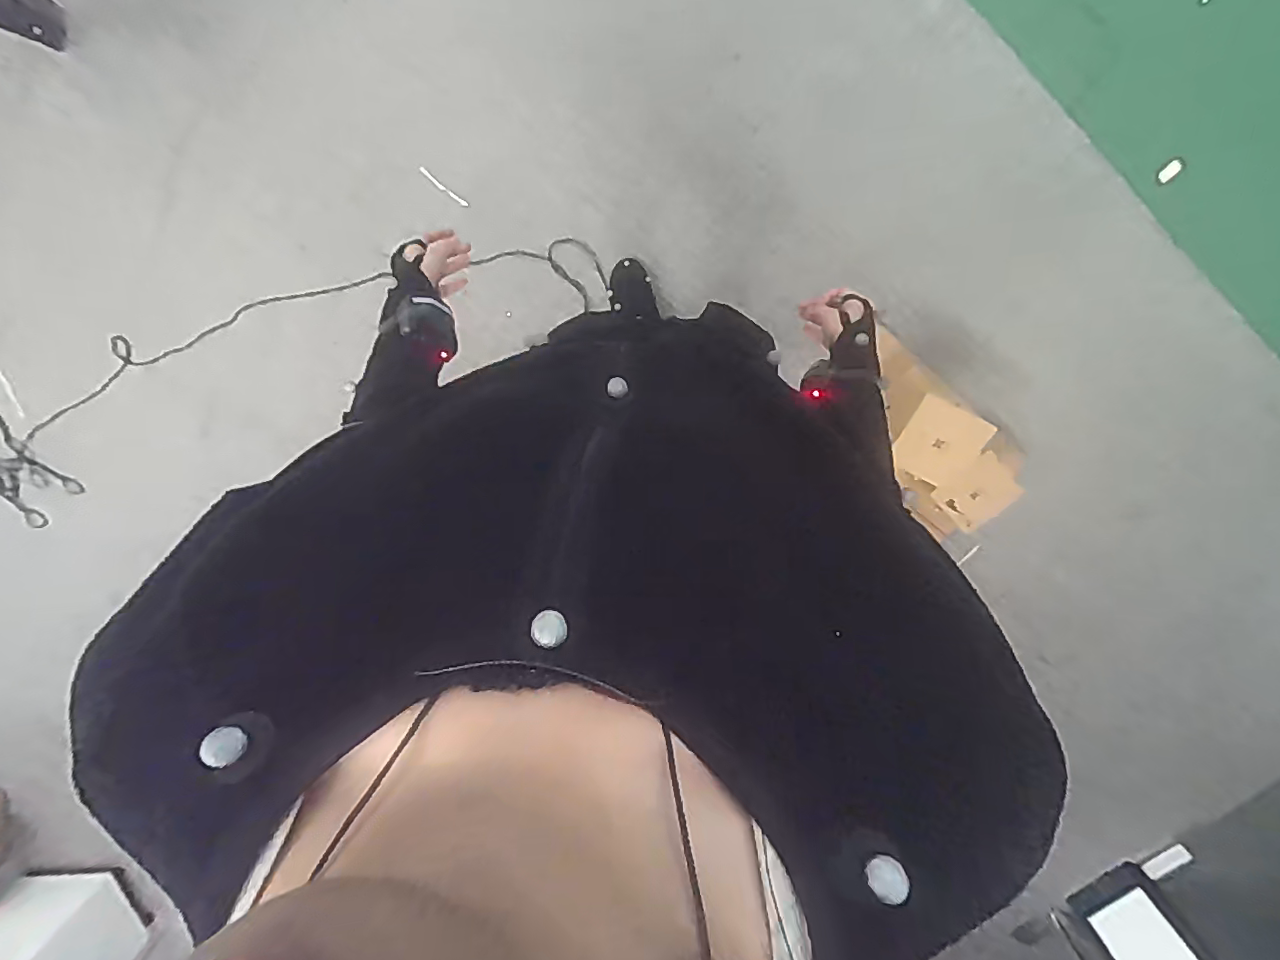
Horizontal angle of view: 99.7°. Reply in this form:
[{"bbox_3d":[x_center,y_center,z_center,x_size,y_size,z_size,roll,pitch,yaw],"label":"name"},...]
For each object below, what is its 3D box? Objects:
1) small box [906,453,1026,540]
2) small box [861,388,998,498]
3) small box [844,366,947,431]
[{"bbox_3d":[0.845,0.017,1.419,0.168,0.176,0.179,43,105,-13],"label":"small box"},{"bbox_3d":[0.638,-0.091,1.214,0.179,0.176,0.168,25,108,-7],"label":"small box"},{"bbox_3d":[0.648,-0.169,1.360,0.179,0.176,0.168,42,107,-12],"label":"small box"}]
